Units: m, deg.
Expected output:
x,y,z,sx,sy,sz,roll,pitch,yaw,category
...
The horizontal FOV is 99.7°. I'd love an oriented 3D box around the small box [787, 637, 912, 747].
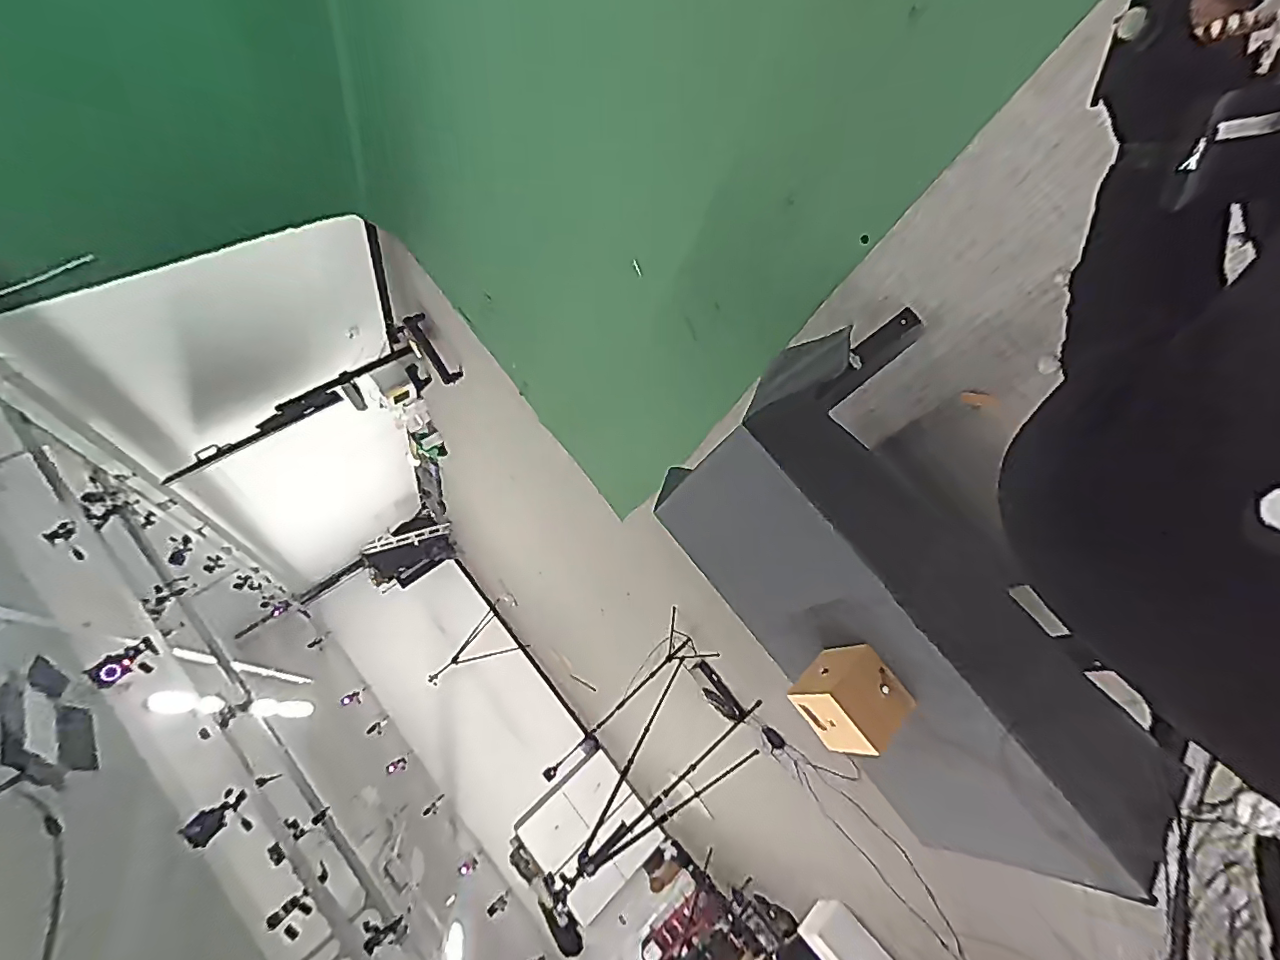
x,y,z,sx,sy,sz,roll,pitch,yaw,category
0.490,0.491,1.267,0.168,0.176,0.179,51,152,6,small box
